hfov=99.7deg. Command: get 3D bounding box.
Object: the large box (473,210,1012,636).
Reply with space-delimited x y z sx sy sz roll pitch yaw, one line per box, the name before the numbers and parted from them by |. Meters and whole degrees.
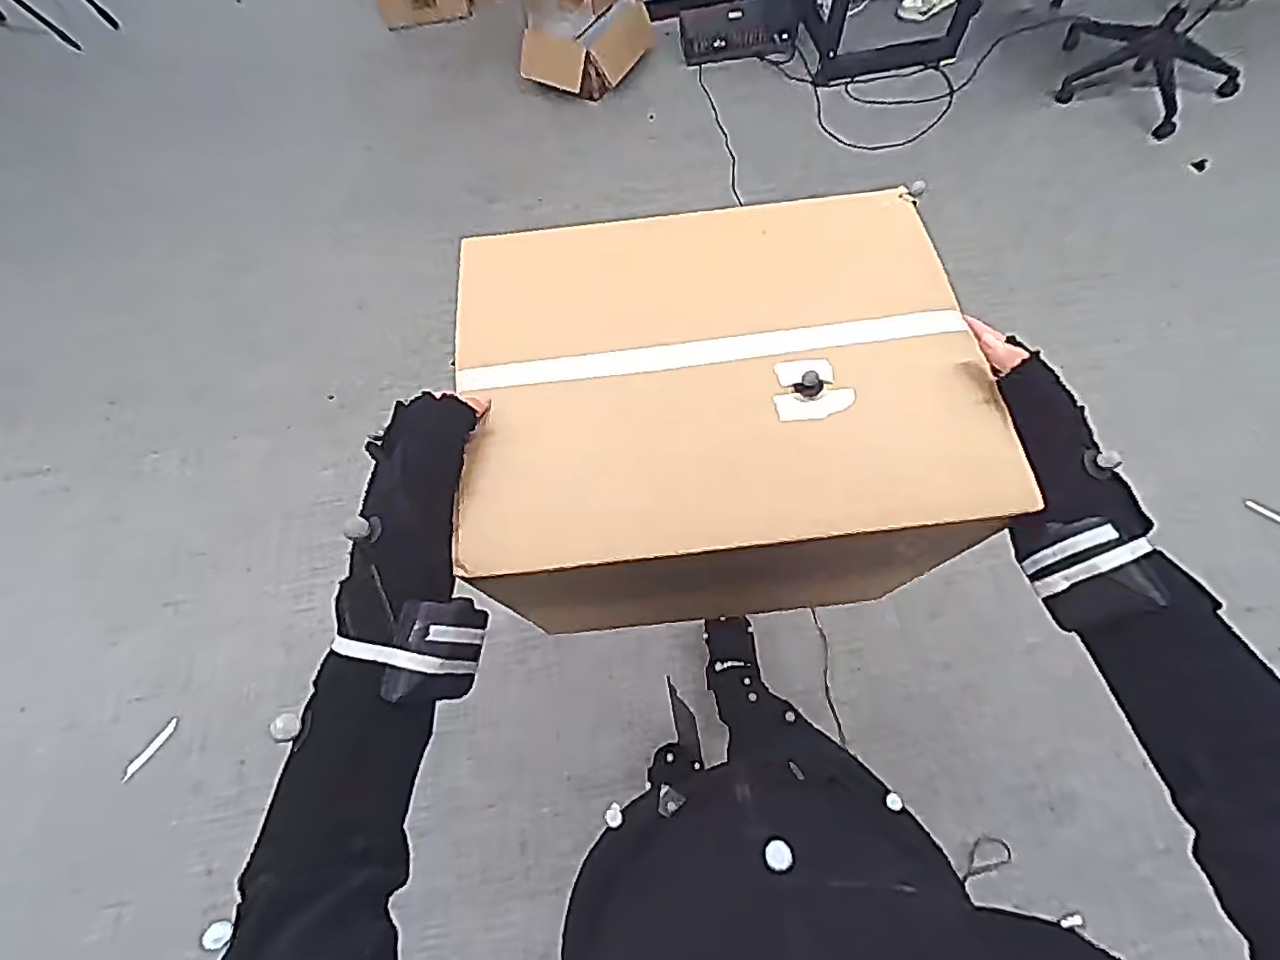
large box | 0.063 -0.033 0.585 0.408 0.320 0.320 -7 66 0
